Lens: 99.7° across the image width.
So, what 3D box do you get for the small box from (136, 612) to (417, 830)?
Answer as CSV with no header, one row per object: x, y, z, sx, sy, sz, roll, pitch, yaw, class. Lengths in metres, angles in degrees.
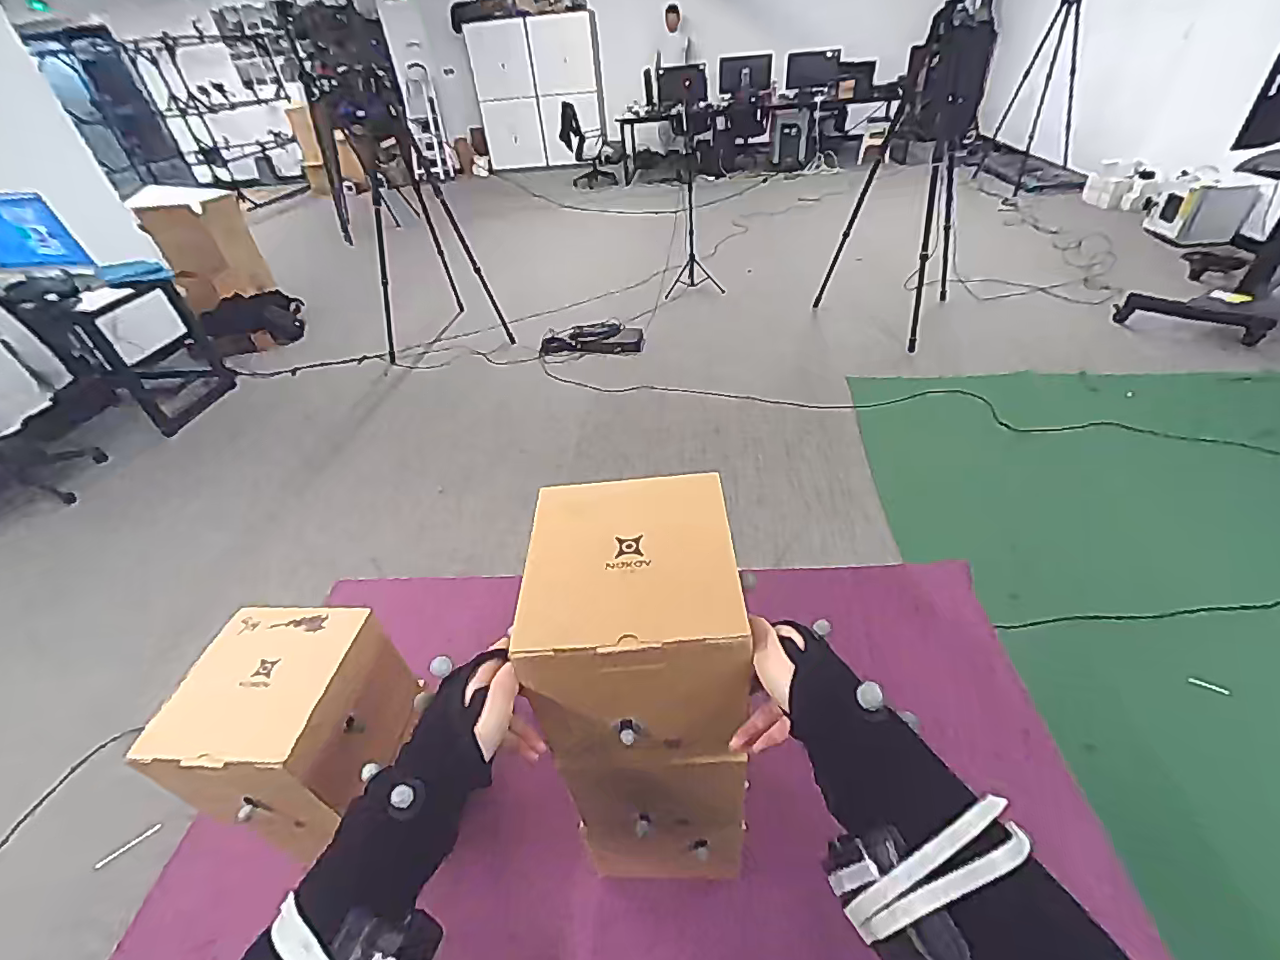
-0.380,0.271,0.611,0.168,0.176,0.179,-1,40,6,small box

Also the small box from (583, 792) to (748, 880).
0.036,0.379,0.679,0.179,0.176,0.168,-3,39,5,small box

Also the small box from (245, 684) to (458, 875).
-0.361,0.393,0.720,0.168,0.176,0.179,-2,40,6,small box

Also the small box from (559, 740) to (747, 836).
0.019,0.252,0.578,0.168,0.176,0.179,-4,40,5,small box

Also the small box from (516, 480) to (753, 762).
0.002,0.123,0.481,0.168,0.176,0.179,-5,40,3,small box
